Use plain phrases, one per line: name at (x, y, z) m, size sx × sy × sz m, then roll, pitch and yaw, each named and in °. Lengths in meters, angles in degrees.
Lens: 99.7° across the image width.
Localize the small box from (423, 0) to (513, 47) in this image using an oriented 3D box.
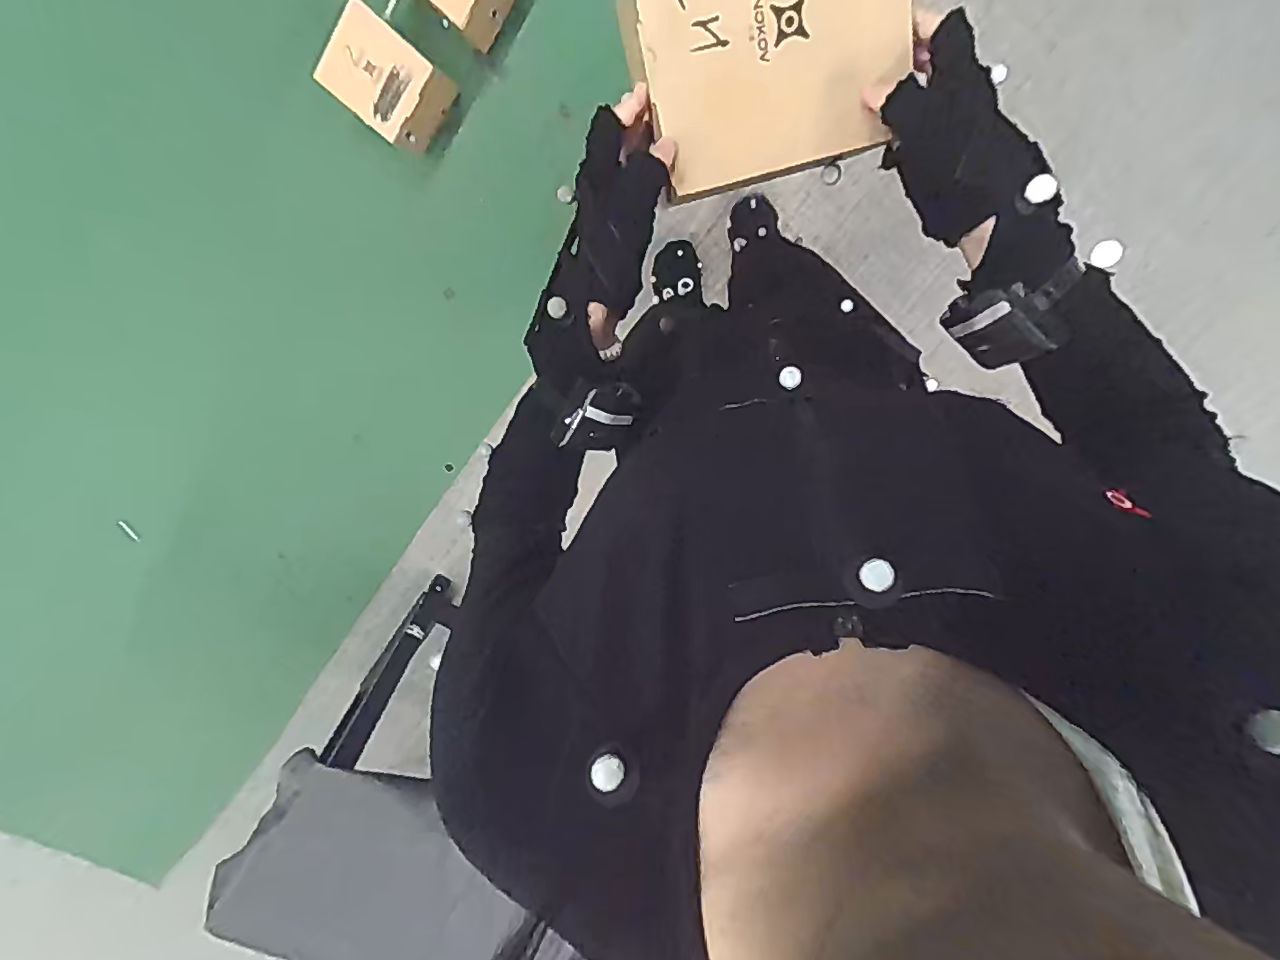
small box at (-0.349, -0.982, 1.030) m, size 0.179 × 0.176 × 0.168 m, roll 35°, pitch 109°, yaw -16°

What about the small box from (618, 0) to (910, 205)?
small box at (0.084, -0.327, 0.423) m, size 0.179 × 0.176 × 0.168 m, roll -13°, pitch 114°, yaw 4°
